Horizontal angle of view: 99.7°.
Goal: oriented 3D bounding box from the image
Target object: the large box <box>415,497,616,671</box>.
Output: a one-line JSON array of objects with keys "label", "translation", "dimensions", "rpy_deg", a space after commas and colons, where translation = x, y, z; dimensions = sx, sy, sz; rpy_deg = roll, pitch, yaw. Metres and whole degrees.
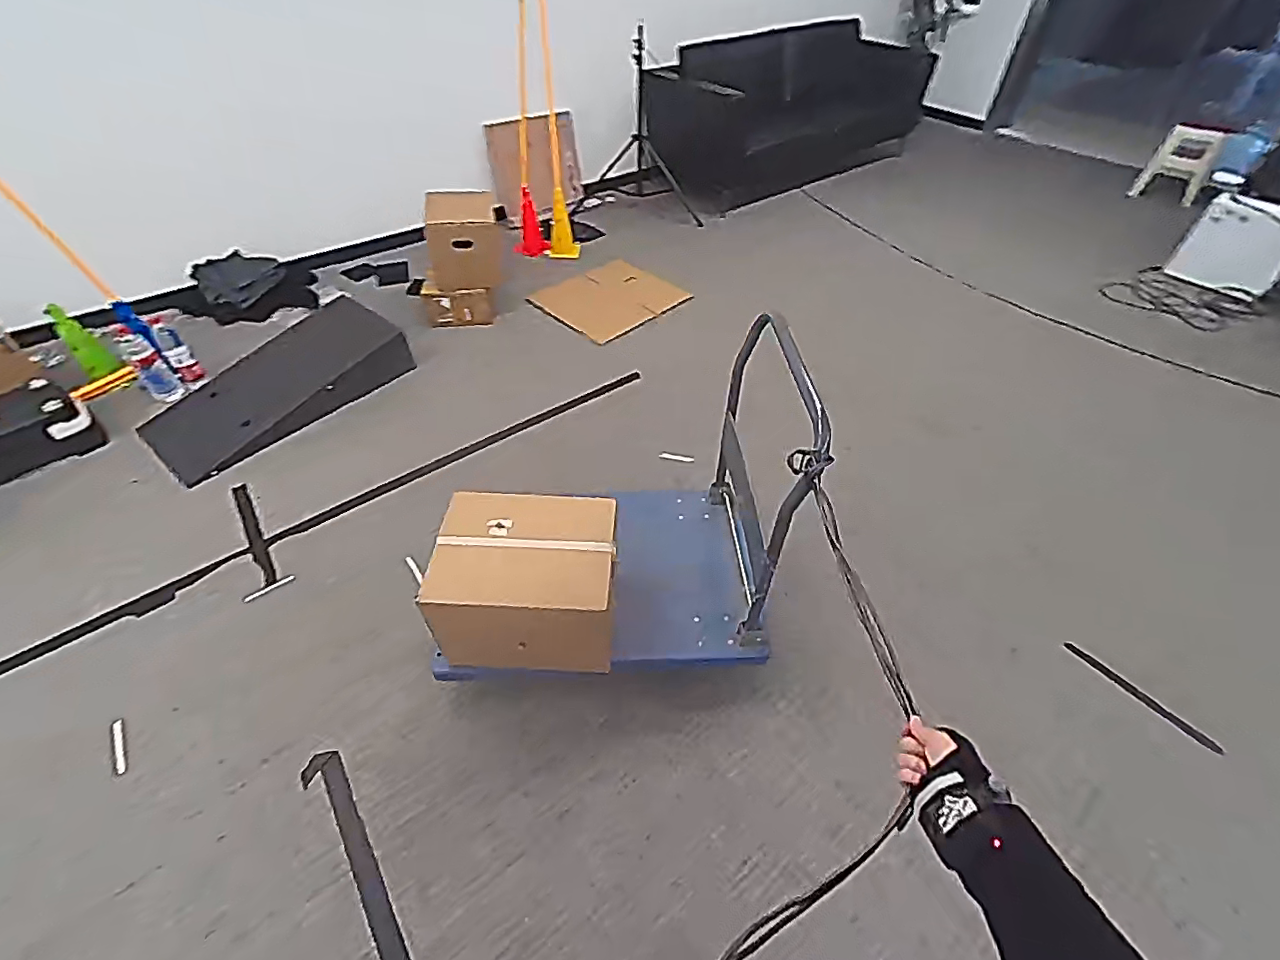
[{"label": "large box", "translation": [-0.265, 0.258, 1.327], "dimensions": [0.408, 0.320, 0.320], "rpy_deg": [2, 46, 1]}]
